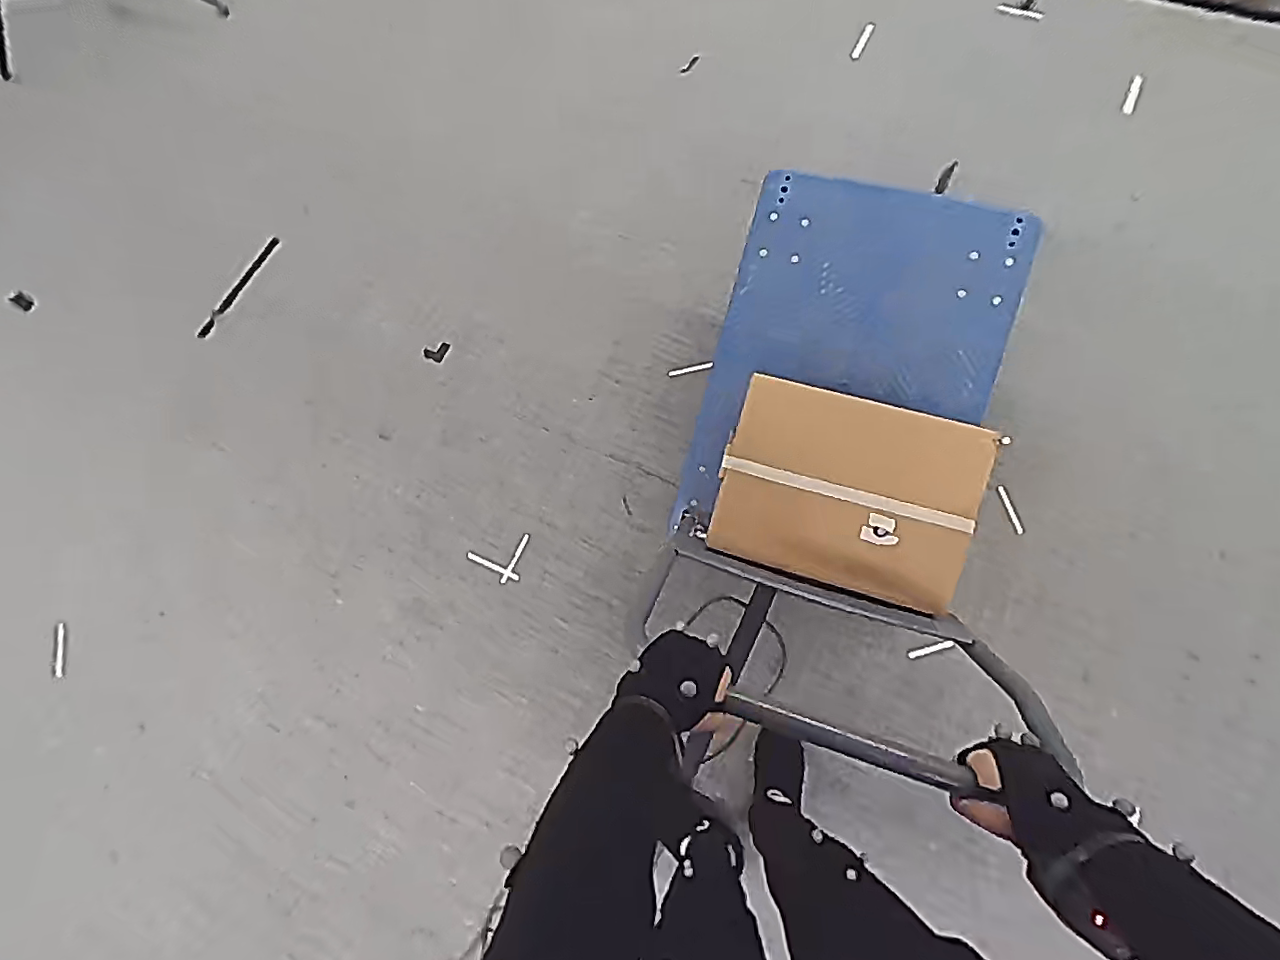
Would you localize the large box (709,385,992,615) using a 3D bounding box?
[{"bbox_3d":[0.369,0.026,1.061,0.408,0.320,0.320,16,95,9],"label":"large box"}]
